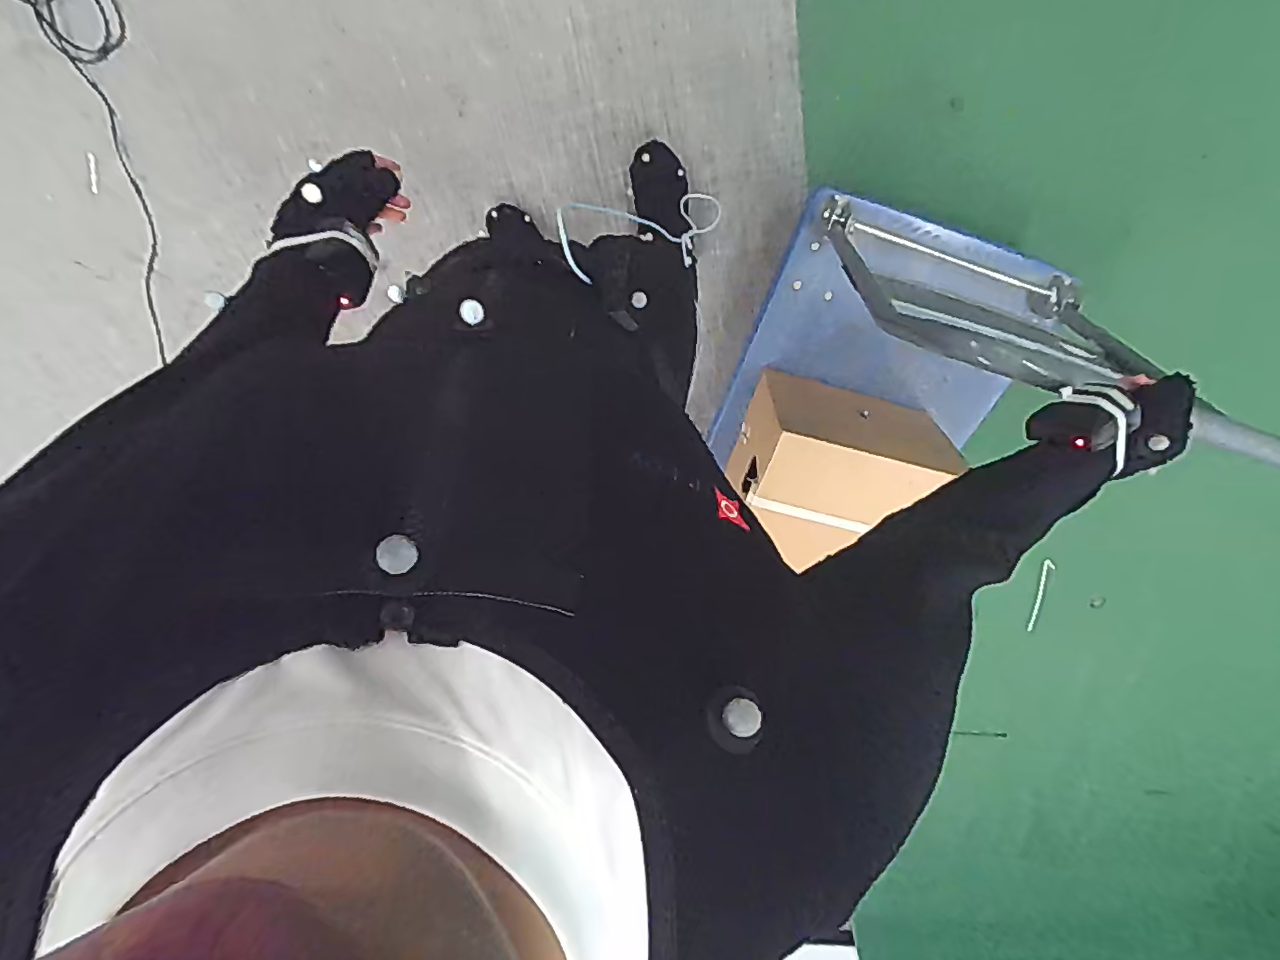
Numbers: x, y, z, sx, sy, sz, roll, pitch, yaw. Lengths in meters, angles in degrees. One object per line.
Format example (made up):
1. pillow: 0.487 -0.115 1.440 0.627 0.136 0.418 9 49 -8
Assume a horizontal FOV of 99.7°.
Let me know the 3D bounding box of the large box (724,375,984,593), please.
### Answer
1. large box: 0.426 -0.001 1.197 0.408 0.320 0.320 13 124 -3
